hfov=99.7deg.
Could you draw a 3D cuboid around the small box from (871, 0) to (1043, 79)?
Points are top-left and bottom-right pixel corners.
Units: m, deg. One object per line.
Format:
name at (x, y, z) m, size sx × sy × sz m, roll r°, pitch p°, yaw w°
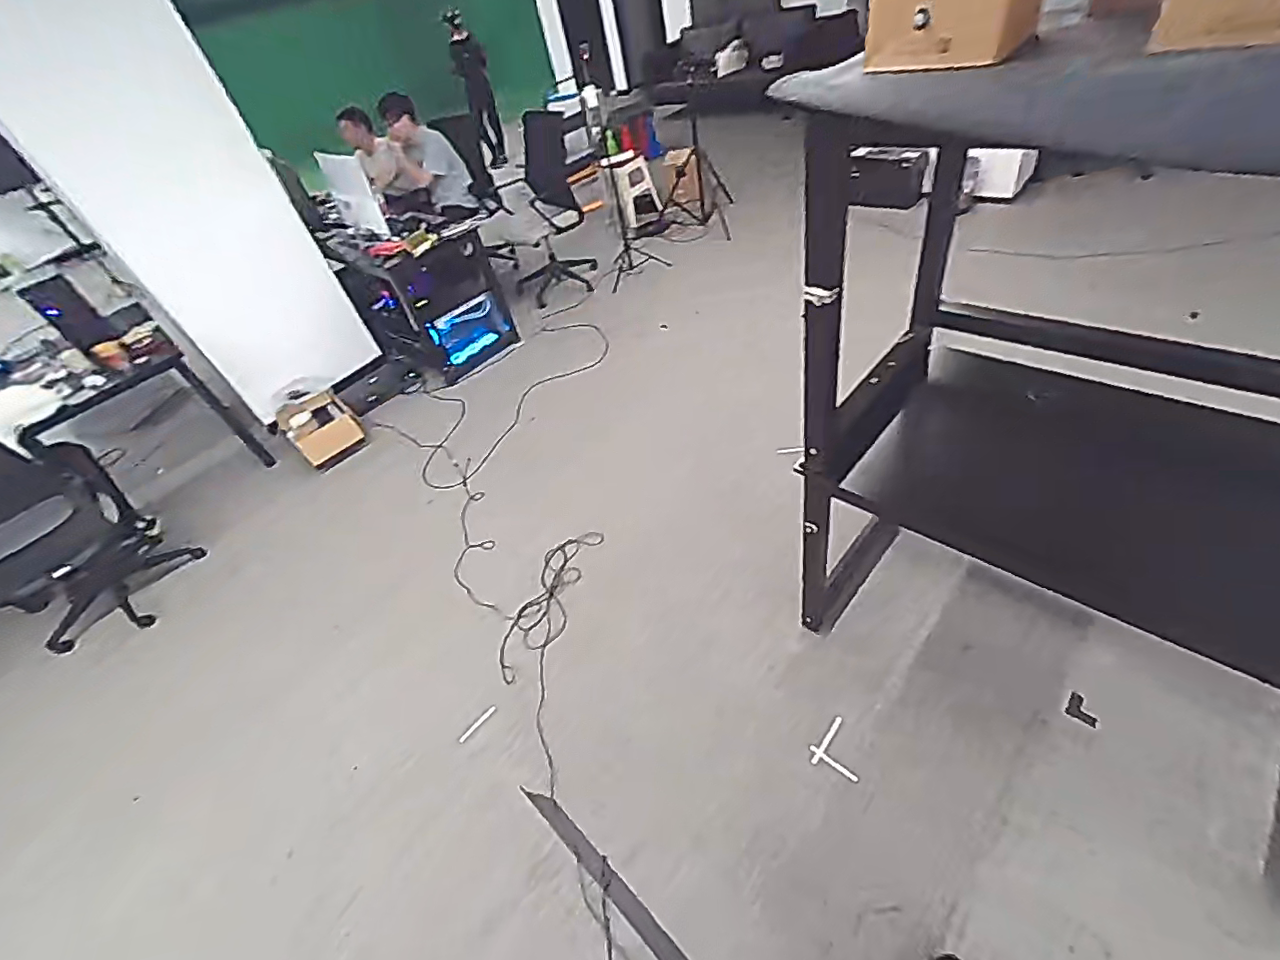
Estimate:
small box at (0.414, -0.636, 0.691) m, size 0.168 × 0.176 × 0.179 m, roll 25°, pitch 56°, yaw 33°
